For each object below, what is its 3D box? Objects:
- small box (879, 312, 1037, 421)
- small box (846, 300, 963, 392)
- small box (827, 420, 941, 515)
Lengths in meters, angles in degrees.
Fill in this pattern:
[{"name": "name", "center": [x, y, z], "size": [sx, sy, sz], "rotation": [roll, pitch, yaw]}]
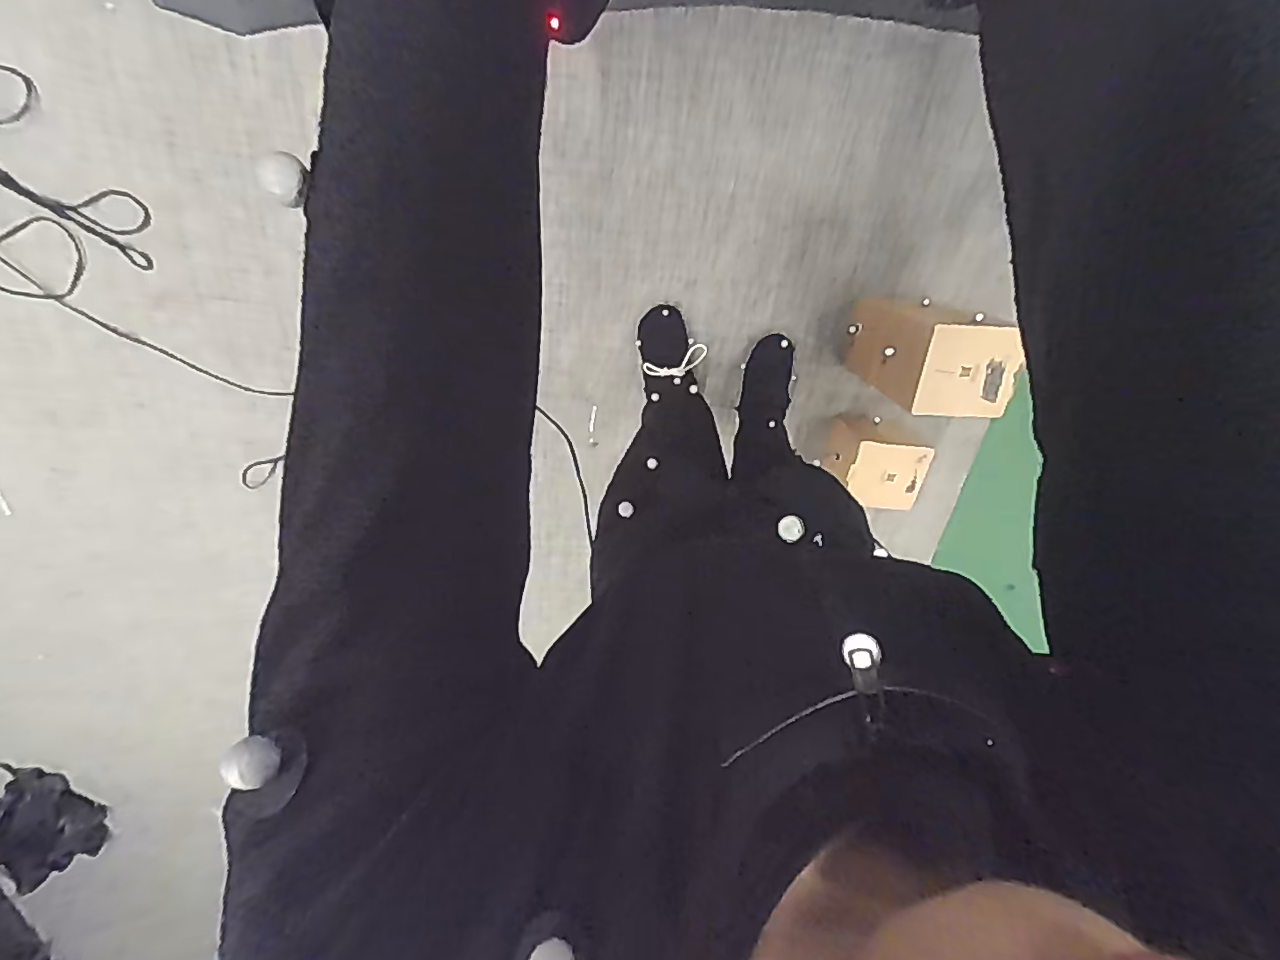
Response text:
[{"name": "small box", "center": [0.584, -0.219, 1.021], "size": [0.179, 0.176, 0.168], "rotation": [2, 116, -1]}, {"name": "small box", "center": [0.574, -0.291, 1.168], "size": [0.179, 0.176, 0.168], "rotation": [2, 116, -2]}, {"name": "small box", "center": [0.571, -0.036, 1.296], "size": [0.179, 0.176, 0.168], "rotation": [7, 117, -3]}]
